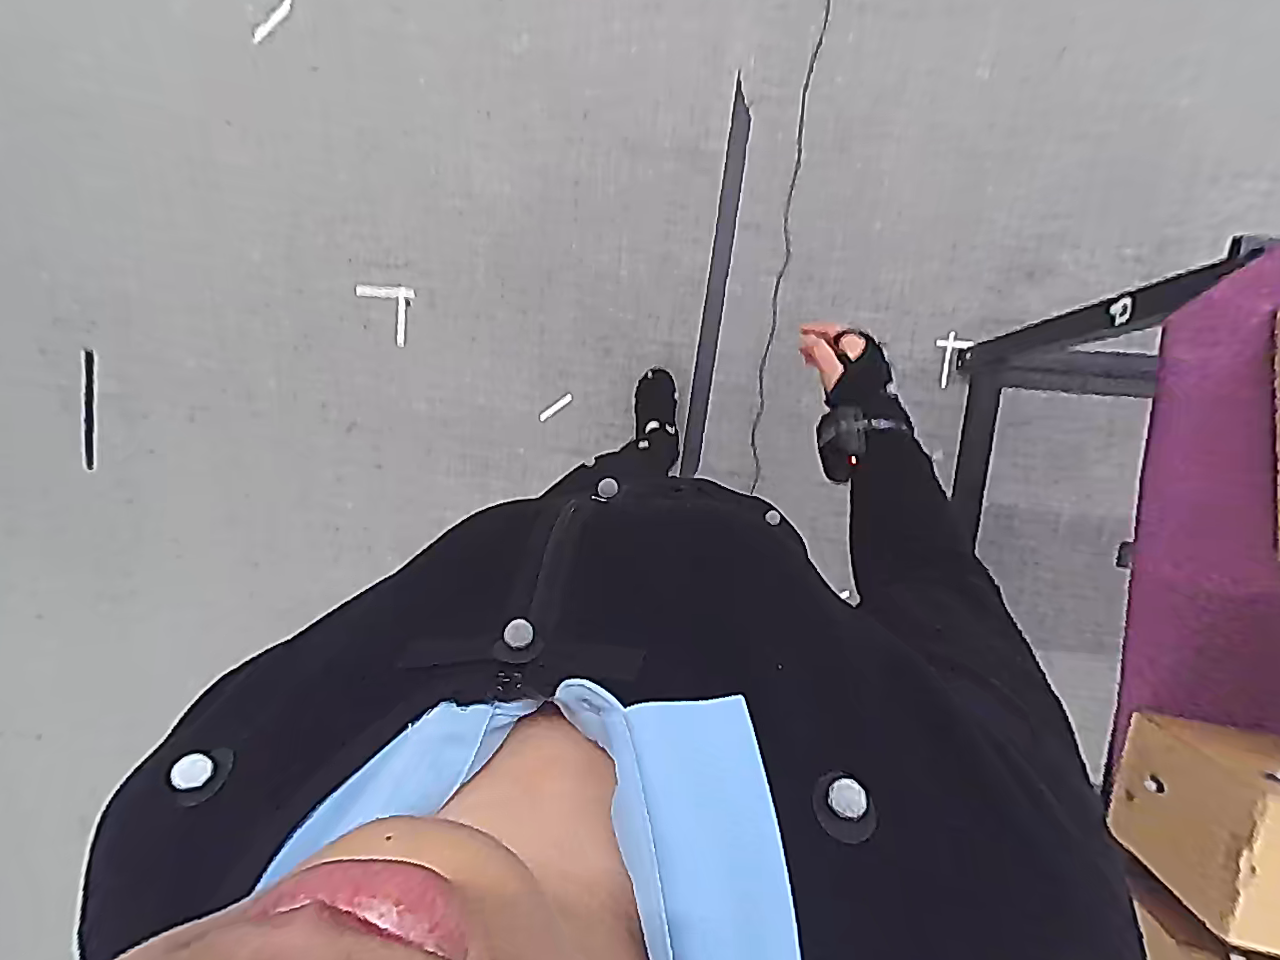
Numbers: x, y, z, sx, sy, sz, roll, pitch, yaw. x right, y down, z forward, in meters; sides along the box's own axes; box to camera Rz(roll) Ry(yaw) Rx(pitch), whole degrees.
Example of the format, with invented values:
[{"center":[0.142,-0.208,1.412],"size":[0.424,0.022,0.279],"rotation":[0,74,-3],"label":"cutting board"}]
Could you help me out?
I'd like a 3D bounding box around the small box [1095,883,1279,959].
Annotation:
[{"center":[0.677,0.614,0.624],"size":[0.179,0.176,0.168],"rotation":[8,96,5],"label":"small box"}]
